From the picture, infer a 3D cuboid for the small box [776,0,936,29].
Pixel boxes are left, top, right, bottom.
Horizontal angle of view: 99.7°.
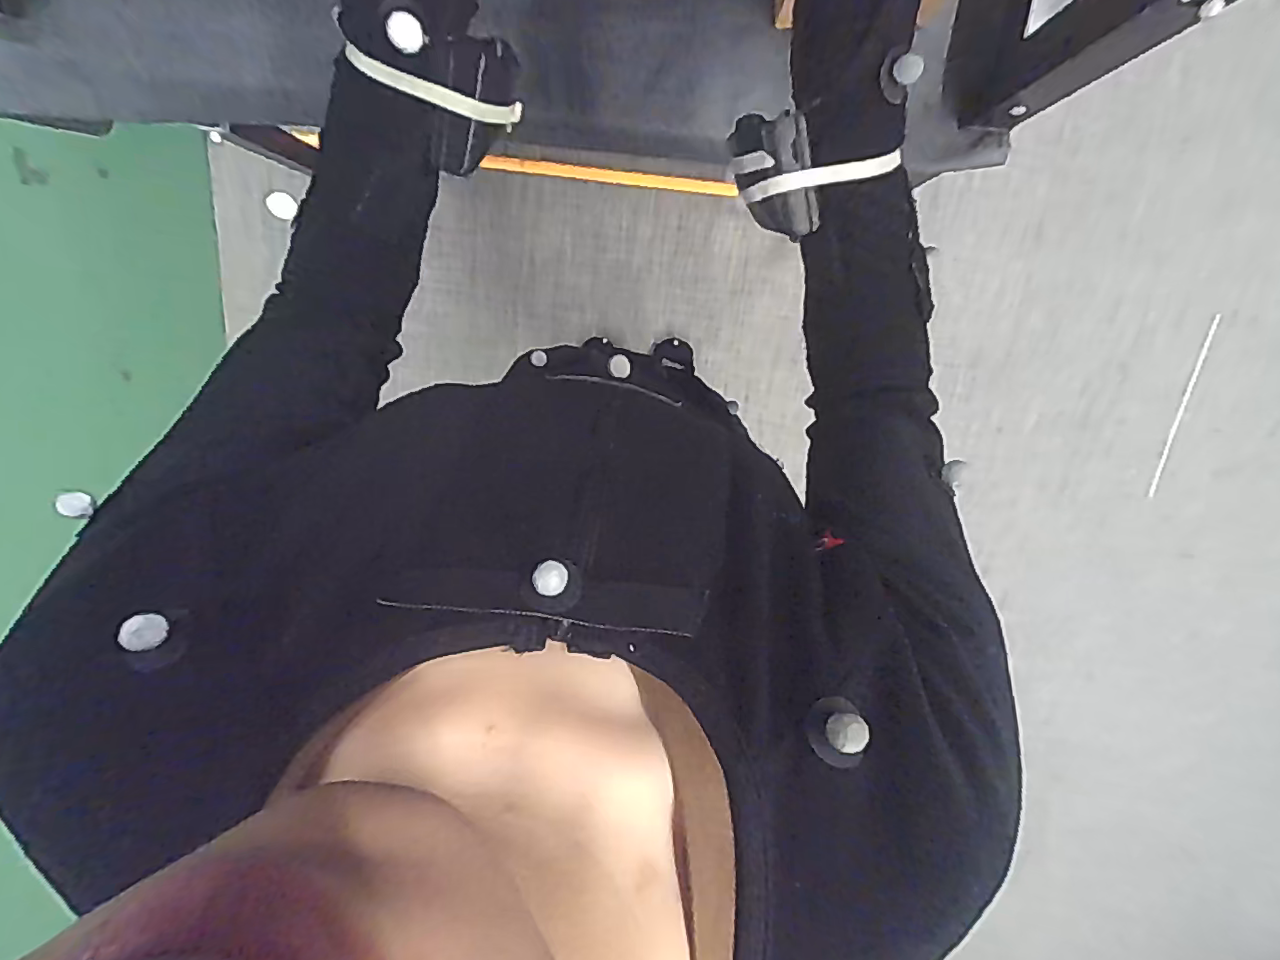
[{"bbox_3d":[0.229,-0.568,0.512,0.168,0.176,0.179,1,103,2],"label":"small box"}]
